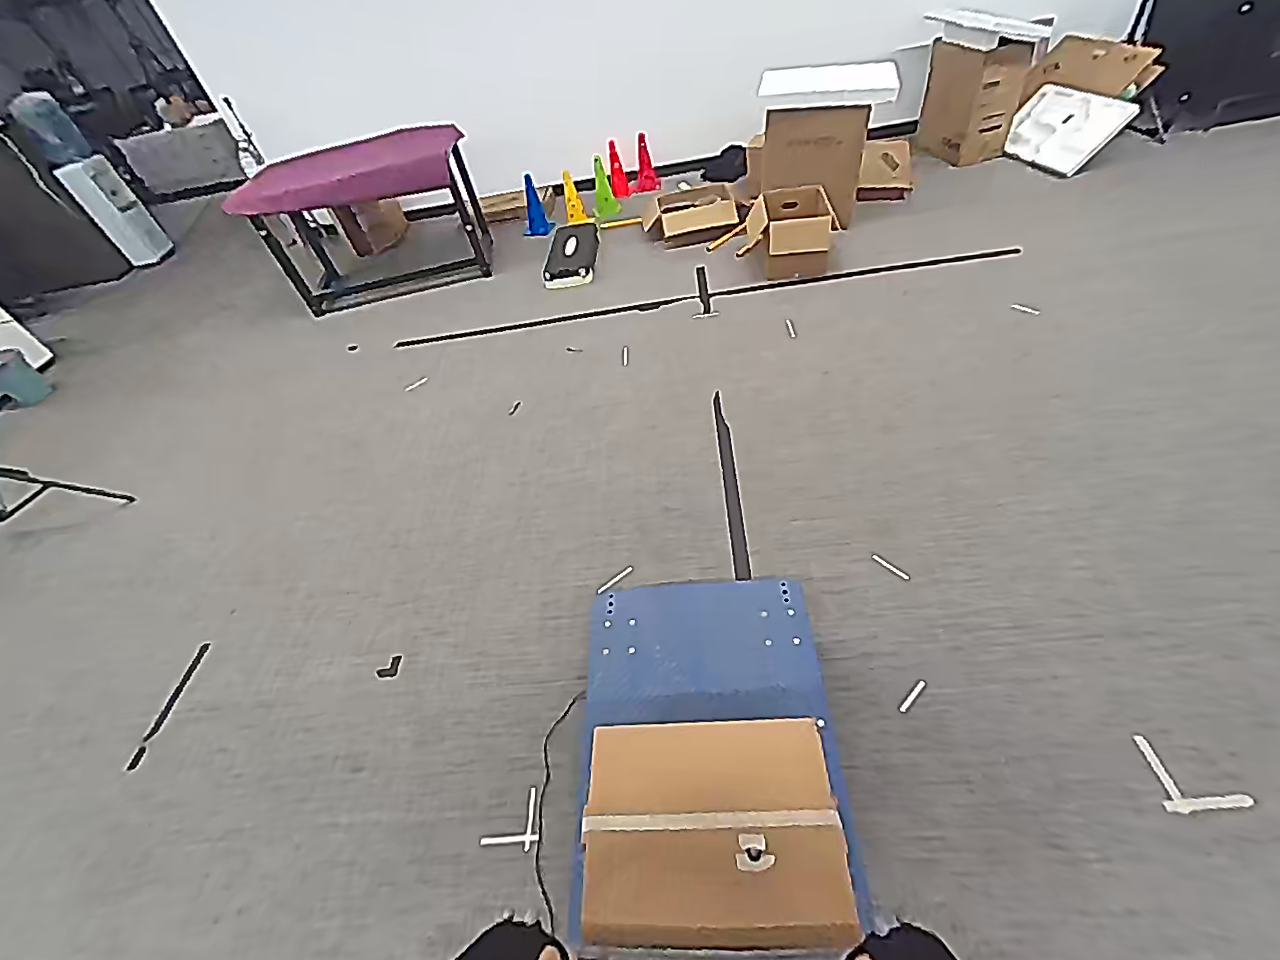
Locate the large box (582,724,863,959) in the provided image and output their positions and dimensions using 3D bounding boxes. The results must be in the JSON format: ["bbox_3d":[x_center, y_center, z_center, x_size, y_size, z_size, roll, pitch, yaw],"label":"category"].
[{"bbox_3d":[0.130,0.661,0.965,0.408,0.320,0.320,-5,46,6],"label":"large box"}]
